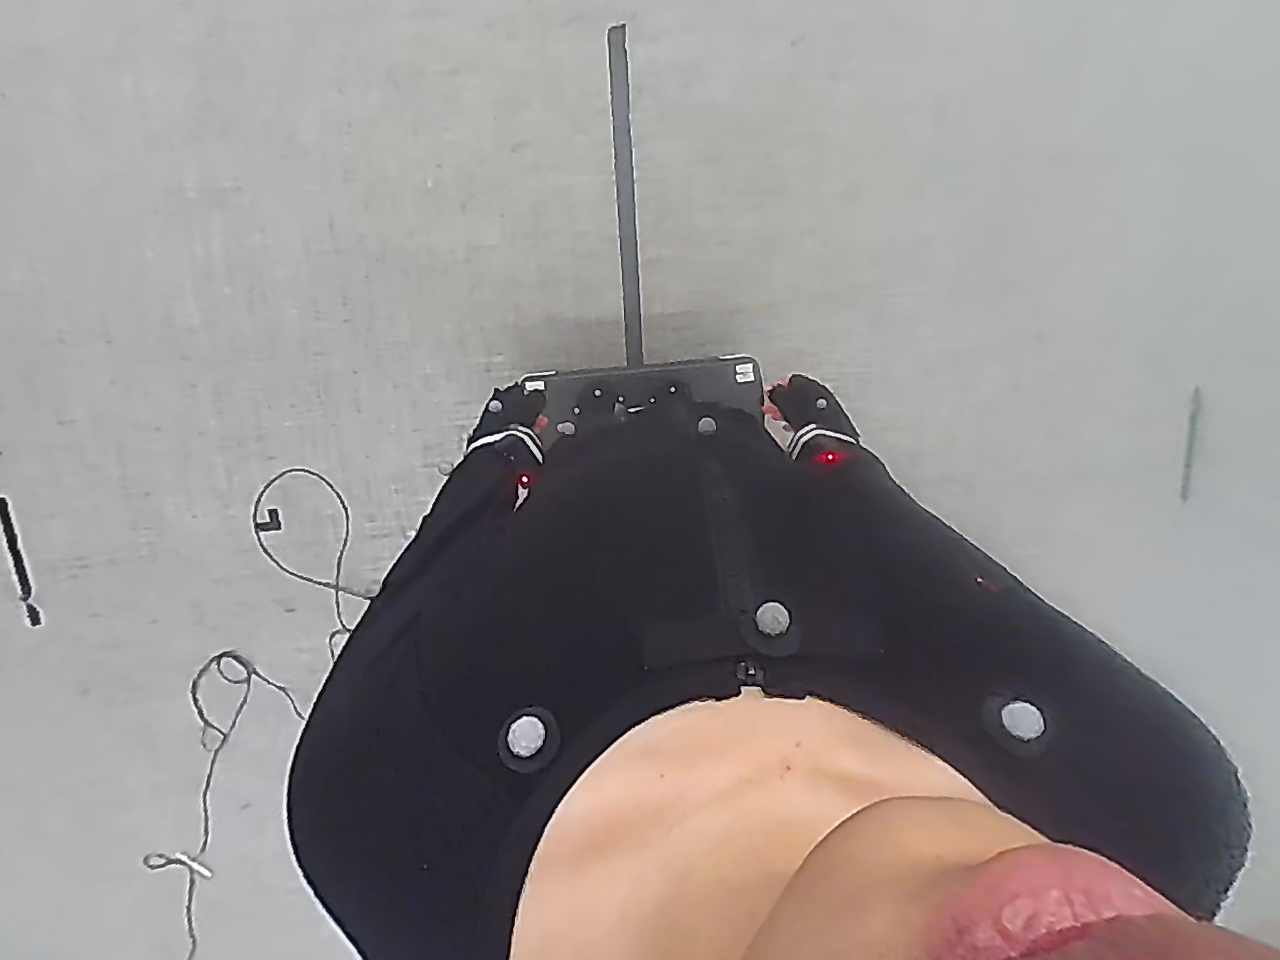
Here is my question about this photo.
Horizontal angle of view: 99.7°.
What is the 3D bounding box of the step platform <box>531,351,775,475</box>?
[{"bbox_3d":[0.037,-0.194,1.549,0.684,0.204,0.286,-7,102,-4],"label":"step platform"}]
